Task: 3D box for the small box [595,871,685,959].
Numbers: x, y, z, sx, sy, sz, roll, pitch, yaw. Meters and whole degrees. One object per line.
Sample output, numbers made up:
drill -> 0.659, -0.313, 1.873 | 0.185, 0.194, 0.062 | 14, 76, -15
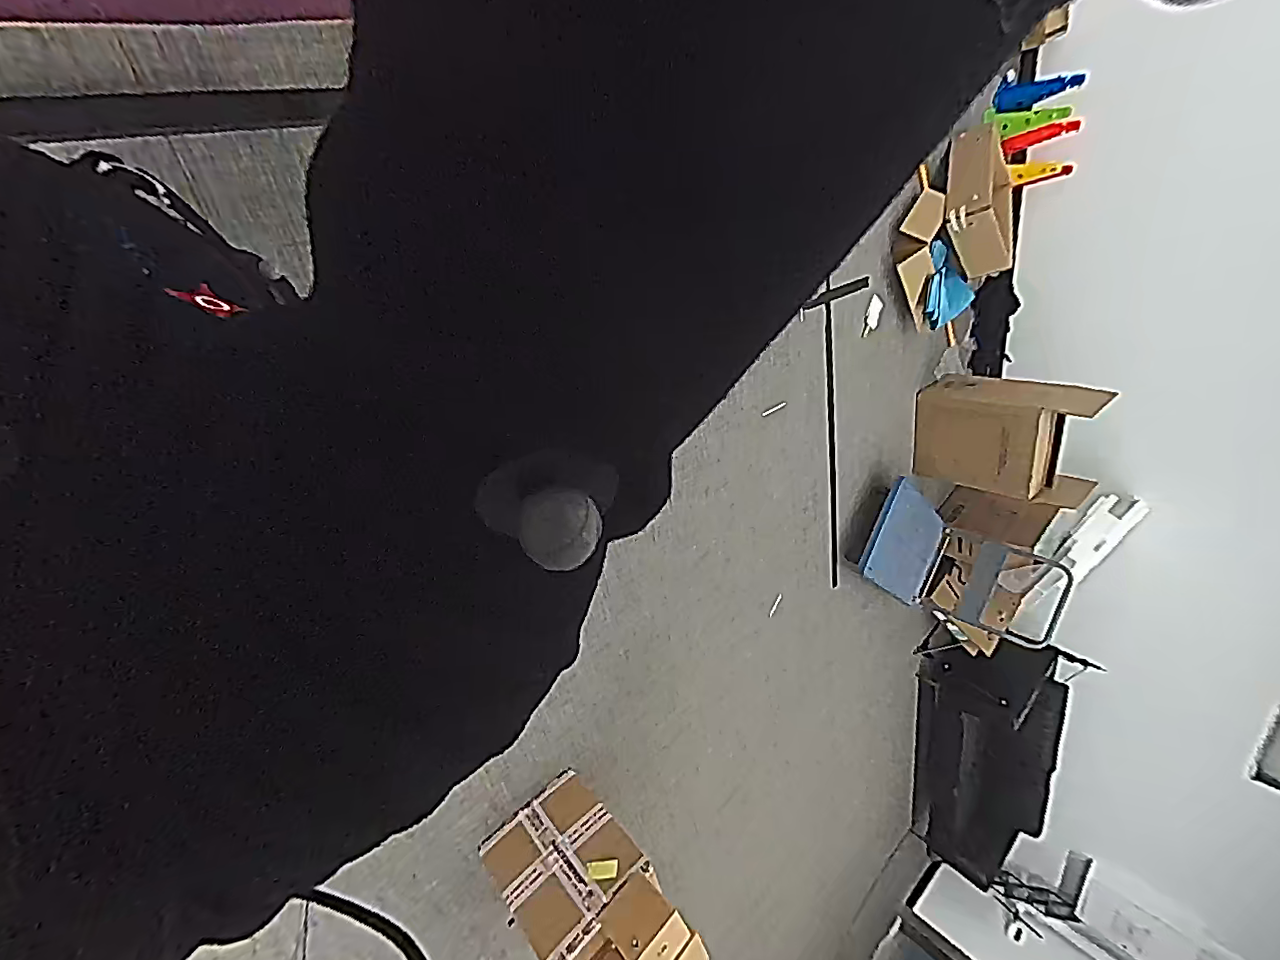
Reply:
small box -> -0.001, 1.295, 1.569 | 0.179, 0.176, 0.168 | -36, 121, -28
